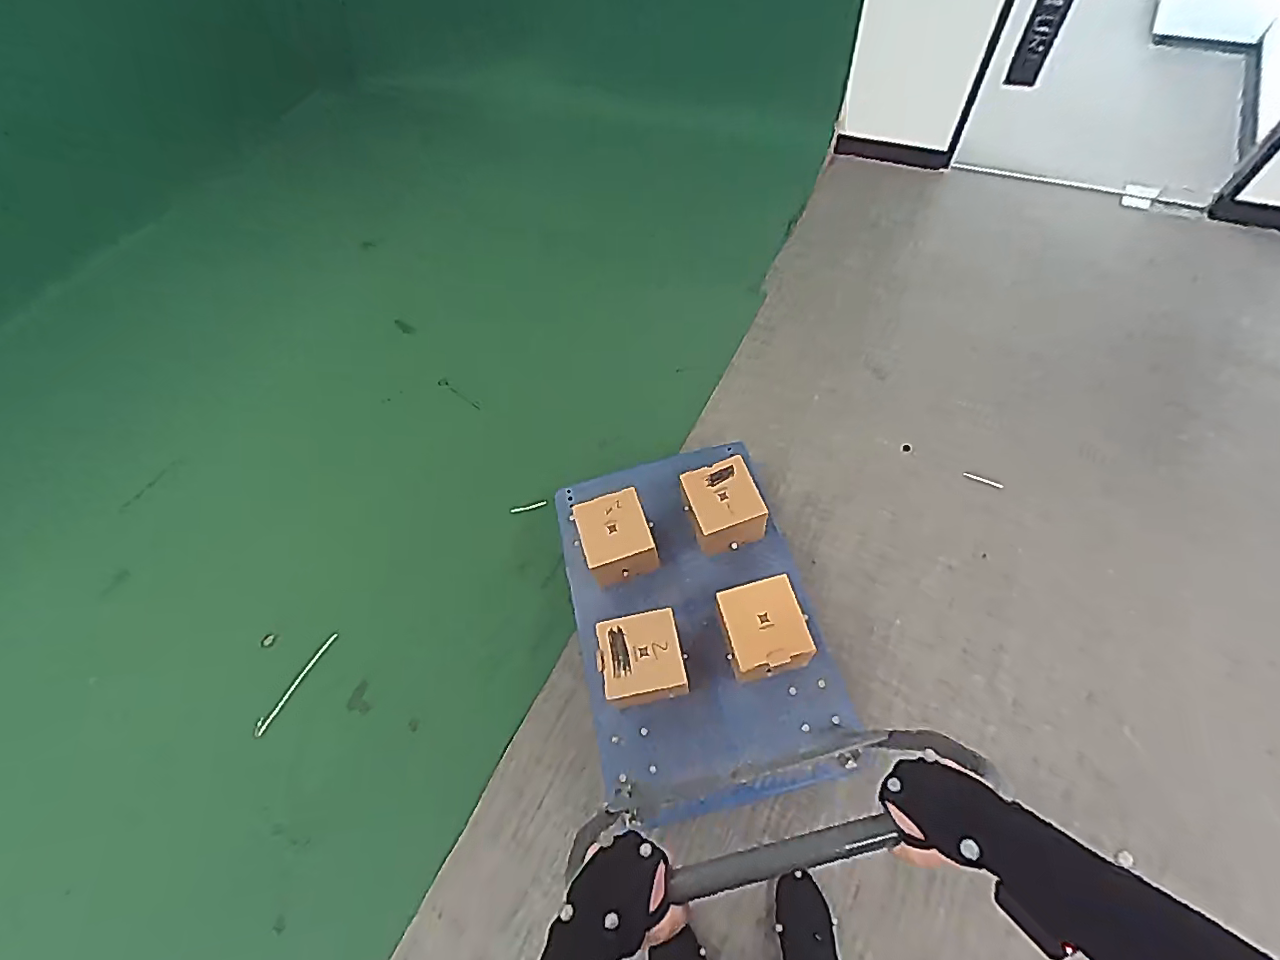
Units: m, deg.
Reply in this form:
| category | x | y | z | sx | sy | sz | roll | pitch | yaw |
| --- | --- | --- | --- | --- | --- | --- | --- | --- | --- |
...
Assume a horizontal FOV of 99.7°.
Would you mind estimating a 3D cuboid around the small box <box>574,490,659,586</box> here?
| category | x | y | z | sx | sy | sz | roll | pitch | yaw |
| --- | --- | --- | --- | --- | --- | --- | --- | --- | --- |
| small box | -0.054 | 0.155 | 1.370 | 0.168 | 0.176 | 0.179 | -17 | 61 | -4 |

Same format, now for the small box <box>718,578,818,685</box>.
| category | x | y | z | sx | sy | sz | roll | pitch | yaw |
| --- | --- | --- | --- | --- | --- | --- | --- | --- | --- |
| small box | 0.279 | 0.347 | 1.227 | 0.168 | 0.176 | 0.179 | -15 | 62 | -1 |

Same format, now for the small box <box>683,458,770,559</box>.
| category | x | y | z | sx | sy | sz | roll | pitch | yaw |
| --- | --- | --- | --- | --- | --- | --- | --- | --- | --- |
| small box | 0.214 | 0.077 | 1.379 | 0.168 | 0.176 | 0.179 | -18 | 62 | -3 |
